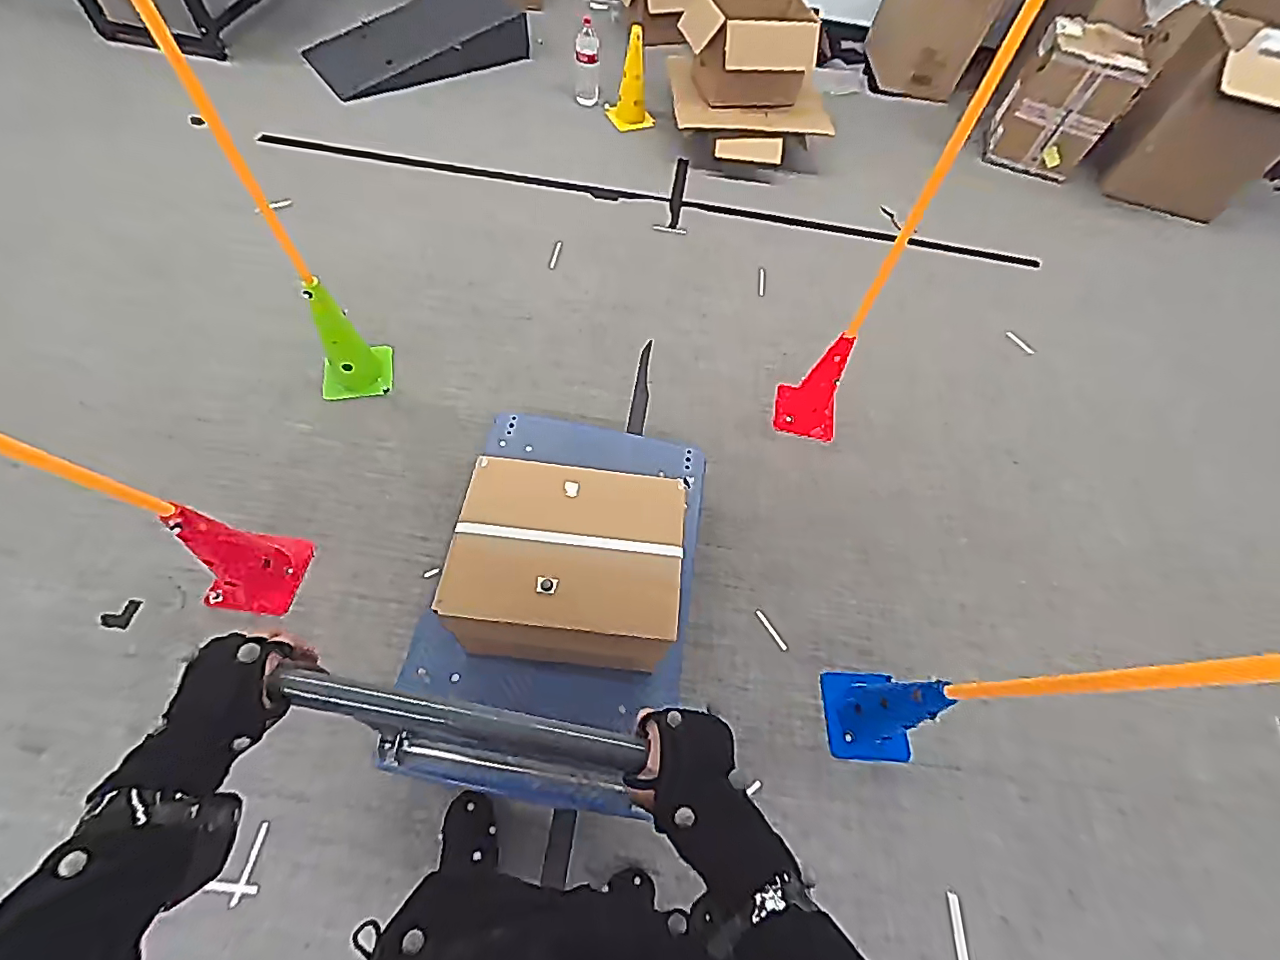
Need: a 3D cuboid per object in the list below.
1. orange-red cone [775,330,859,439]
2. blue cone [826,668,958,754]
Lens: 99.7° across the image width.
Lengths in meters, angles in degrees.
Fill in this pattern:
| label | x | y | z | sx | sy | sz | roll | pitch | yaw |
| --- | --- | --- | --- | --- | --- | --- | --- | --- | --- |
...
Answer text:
| label | x | y | z | sx | sy | sz | roll | pitch | yaw |
| --- | --- | --- | --- | --- | --- | --- | --- | --- | --- |
| orange-red cone | 0.567 | -0.314 | 1.631 | 0.199 | 0.360 | 0.198 | 15 | 60 | 1 |
| blue cone | 0.577 | 0.483 | 1.190 | 0.193 | 0.380 | 0.192 | 6 | 59 | -3 |
